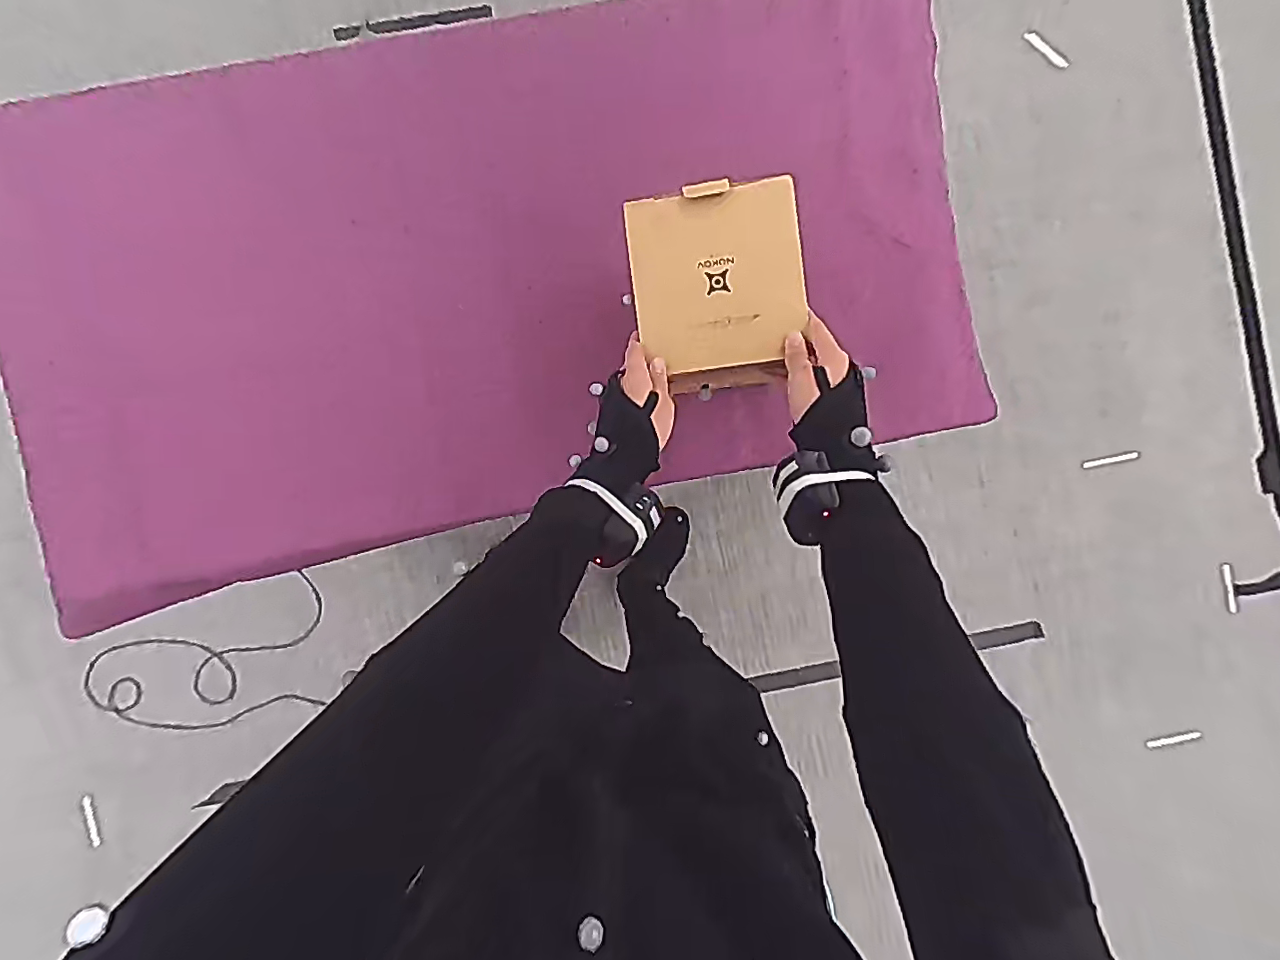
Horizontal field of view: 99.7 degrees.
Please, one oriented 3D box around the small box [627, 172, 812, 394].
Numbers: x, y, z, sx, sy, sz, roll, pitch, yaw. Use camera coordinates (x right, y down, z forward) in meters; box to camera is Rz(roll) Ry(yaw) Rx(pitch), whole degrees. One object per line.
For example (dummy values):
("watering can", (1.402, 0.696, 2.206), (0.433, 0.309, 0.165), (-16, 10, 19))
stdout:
("small box", (0.080, -0.199, 0.595), (0.168, 0.176, 0.179), (-6, 93, 5))
